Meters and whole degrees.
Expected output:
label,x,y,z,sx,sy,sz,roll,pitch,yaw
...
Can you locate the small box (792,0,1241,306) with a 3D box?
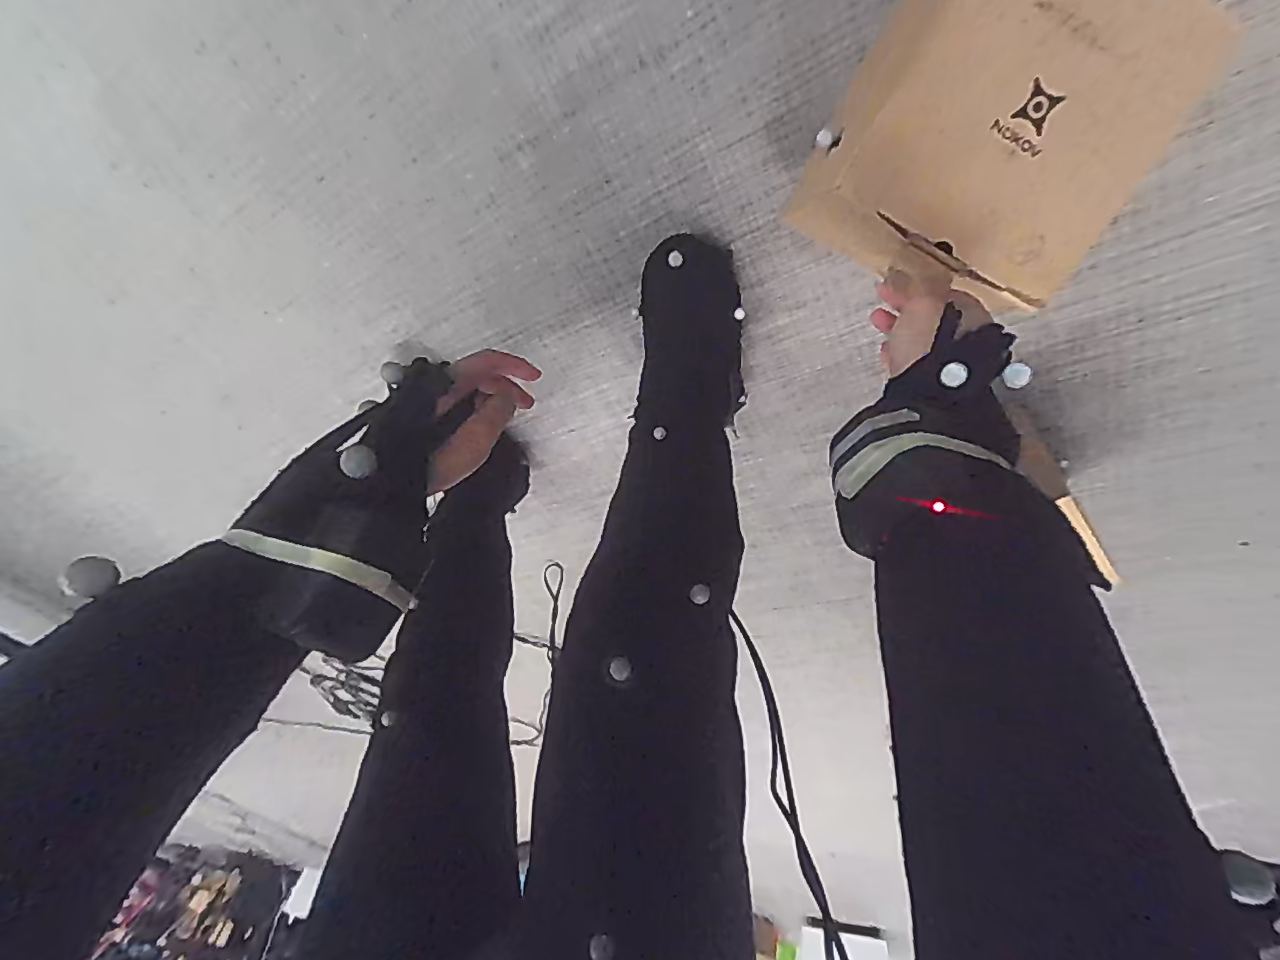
label,x,y,z,sx,sy,sz,roll,pitch,yaw
small box,0.231,-0.245,0.395,0.168,0.176,0.179,26,106,-8
